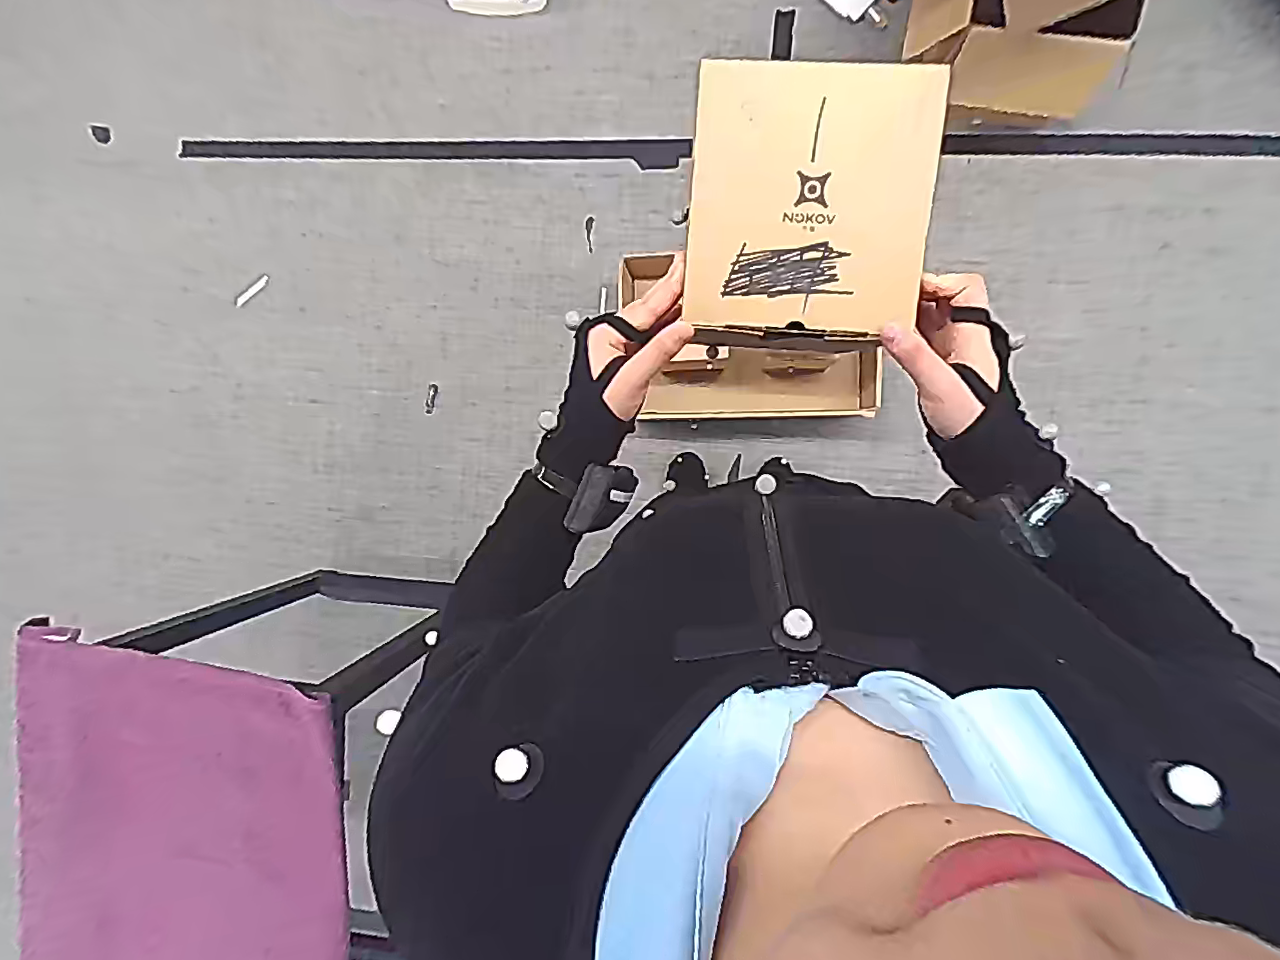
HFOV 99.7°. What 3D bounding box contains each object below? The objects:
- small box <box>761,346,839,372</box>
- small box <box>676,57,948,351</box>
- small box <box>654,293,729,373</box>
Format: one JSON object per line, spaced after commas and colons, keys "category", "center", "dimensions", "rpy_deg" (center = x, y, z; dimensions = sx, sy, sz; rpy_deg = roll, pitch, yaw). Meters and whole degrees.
{"category": "small box", "center": [0.386, -0.366, 1.325], "dimensions": [0.168, 0.176, 0.179], "rpy_deg": [0, 93, 8]}
{"category": "small box", "center": [0.120, -0.204, 0.449], "dimensions": [0.168, 0.176, 0.179], "rpy_deg": [4, 99, 3]}
{"category": "small box", "center": [0.128, -0.366, 1.354], "dimensions": [0.179, 0.176, 0.168], "rpy_deg": [-2, 92, 6]}
